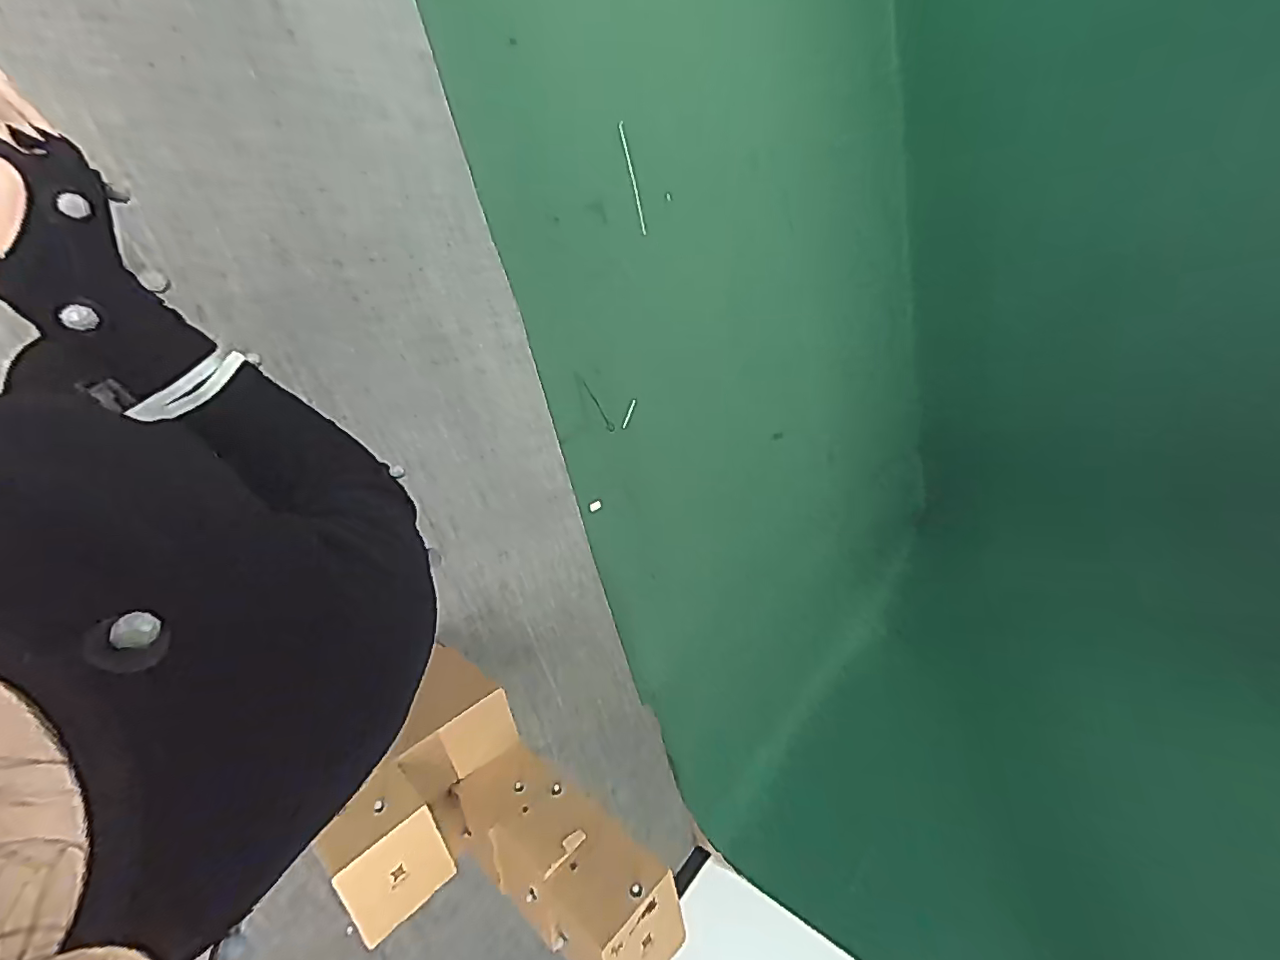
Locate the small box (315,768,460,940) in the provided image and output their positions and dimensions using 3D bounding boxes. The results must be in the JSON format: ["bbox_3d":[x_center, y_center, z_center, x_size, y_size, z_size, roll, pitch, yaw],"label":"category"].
[{"bbox_3d":[-0.469,0.670,0.999,0.168,0.176,0.179,-28,114,-37],"label":"small box"}]

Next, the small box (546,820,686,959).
[{"bbox_3d":[-0.043,0.759,0.958,0.168,0.176,0.179,-25,113,-40],"label":"small box"}]

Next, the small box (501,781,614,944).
[{"bbox_3d":[-0.160,0.737,1.073,0.168,0.176,0.179,-17,108,-41],"label":"small box"}]

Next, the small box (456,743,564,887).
[{"bbox_3d":[-0.276,0.720,1.189,0.179,0.176,0.168,-19,108,-40],"label":"small box"}]
